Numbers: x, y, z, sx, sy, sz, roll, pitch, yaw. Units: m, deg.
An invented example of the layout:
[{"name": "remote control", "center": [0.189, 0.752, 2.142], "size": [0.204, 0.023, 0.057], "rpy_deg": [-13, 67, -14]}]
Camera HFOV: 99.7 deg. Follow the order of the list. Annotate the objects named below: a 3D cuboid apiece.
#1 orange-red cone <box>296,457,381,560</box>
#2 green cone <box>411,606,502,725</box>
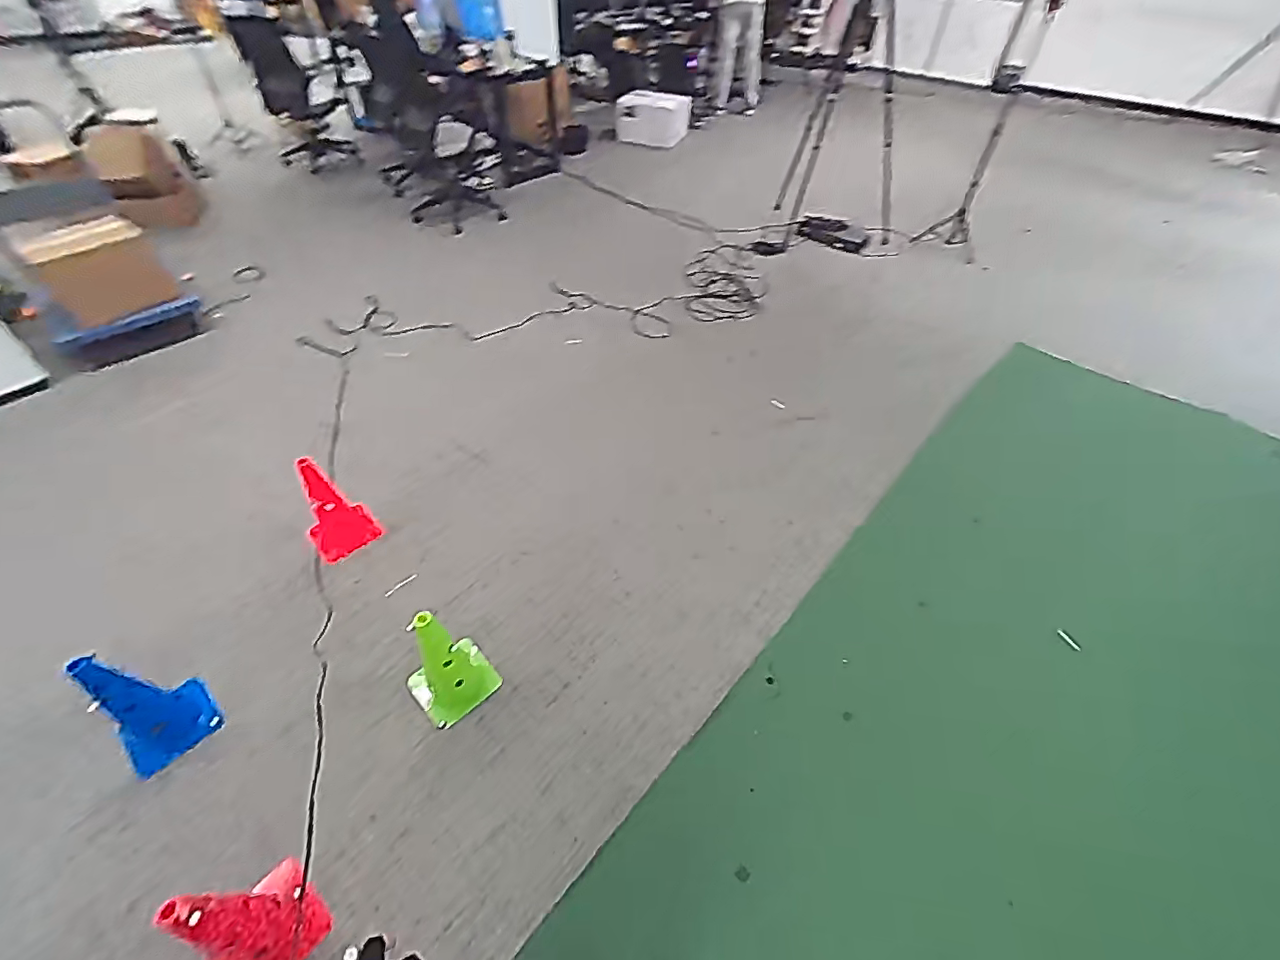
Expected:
[{"name": "orange-red cone", "center": [-1.029, 0.062, 1.773], "size": [0.198, 0.360, 0.199], "rpy_deg": [-34, 57, -28]}, {"name": "green cone", "center": [-0.519, 0.445, 1.415], "size": [0.202, 0.368, 0.200], "rpy_deg": [35, 54, 29]}]
